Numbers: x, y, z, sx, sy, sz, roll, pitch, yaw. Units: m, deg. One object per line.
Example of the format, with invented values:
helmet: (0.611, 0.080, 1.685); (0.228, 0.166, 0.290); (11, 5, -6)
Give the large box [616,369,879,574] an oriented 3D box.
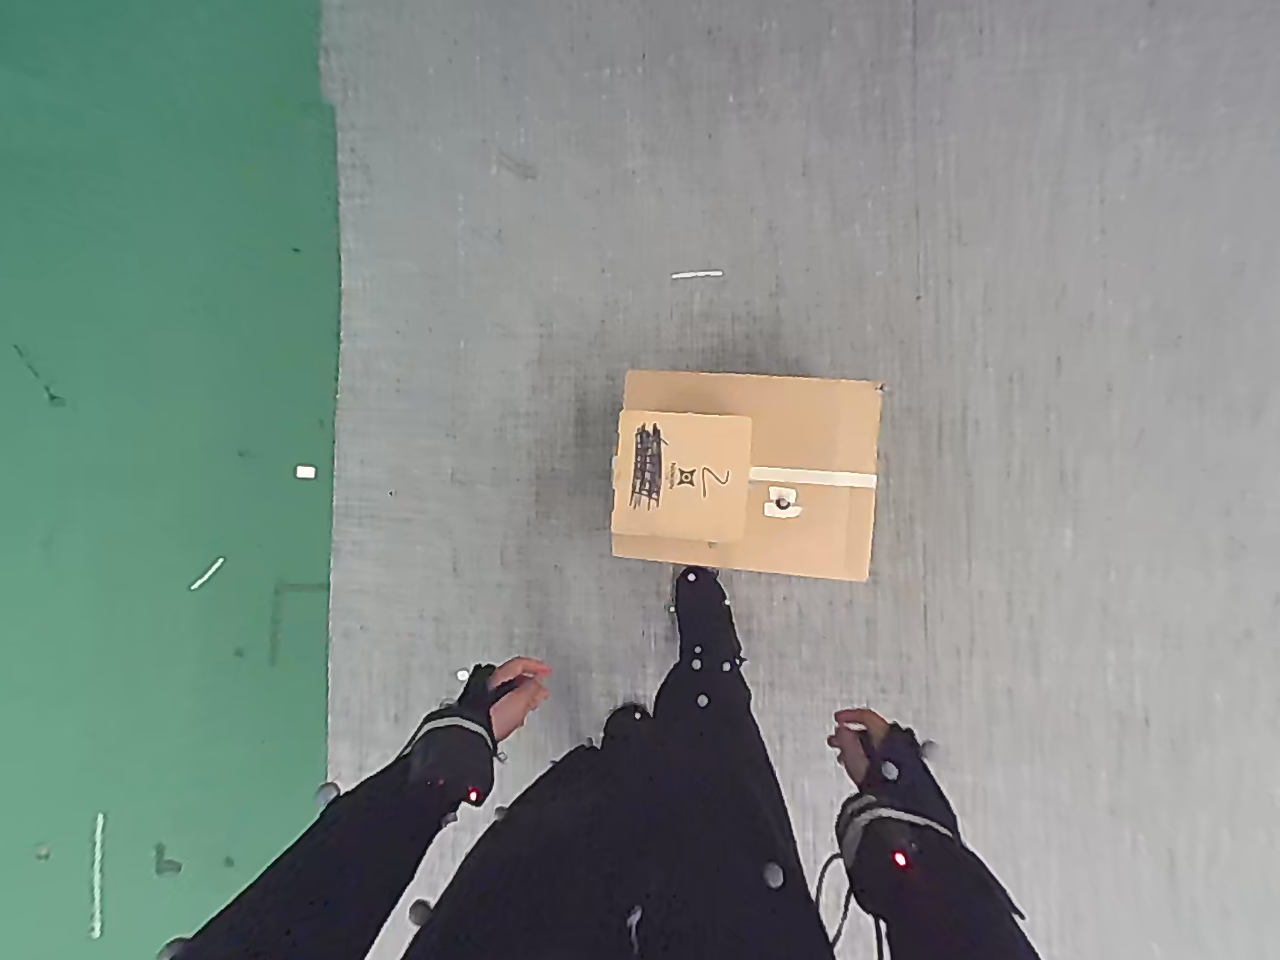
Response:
large box: (0.183, -0.014, 1.004); (0.408, 0.320, 0.320); (4, 90, 8)
